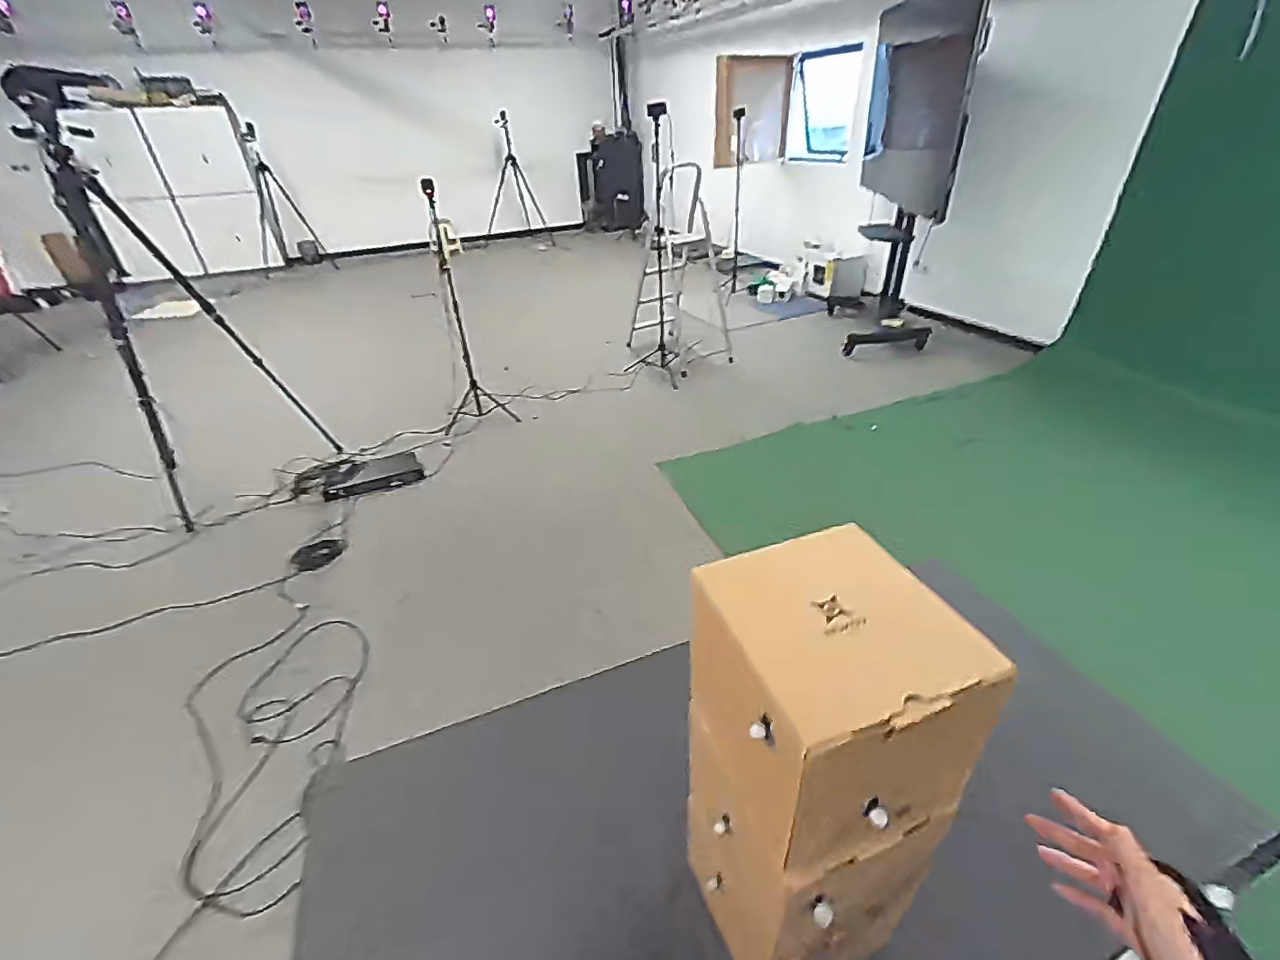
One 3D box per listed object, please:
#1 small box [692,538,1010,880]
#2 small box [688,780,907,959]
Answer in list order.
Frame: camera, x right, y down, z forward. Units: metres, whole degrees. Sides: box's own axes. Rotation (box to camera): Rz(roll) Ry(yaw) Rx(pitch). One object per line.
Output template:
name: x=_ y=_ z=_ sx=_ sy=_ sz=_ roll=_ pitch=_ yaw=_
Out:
small box: x=0.148 y=0.180 z=0.453 sx=0.168 sy=0.176 sz=0.179 roll=-13 pitch=34 yaw=-16
small box: x=0.162 y=0.459 z=0.622 sx=0.168 sy=0.176 sz=0.179 roll=-16 pitch=35 yaw=-18
